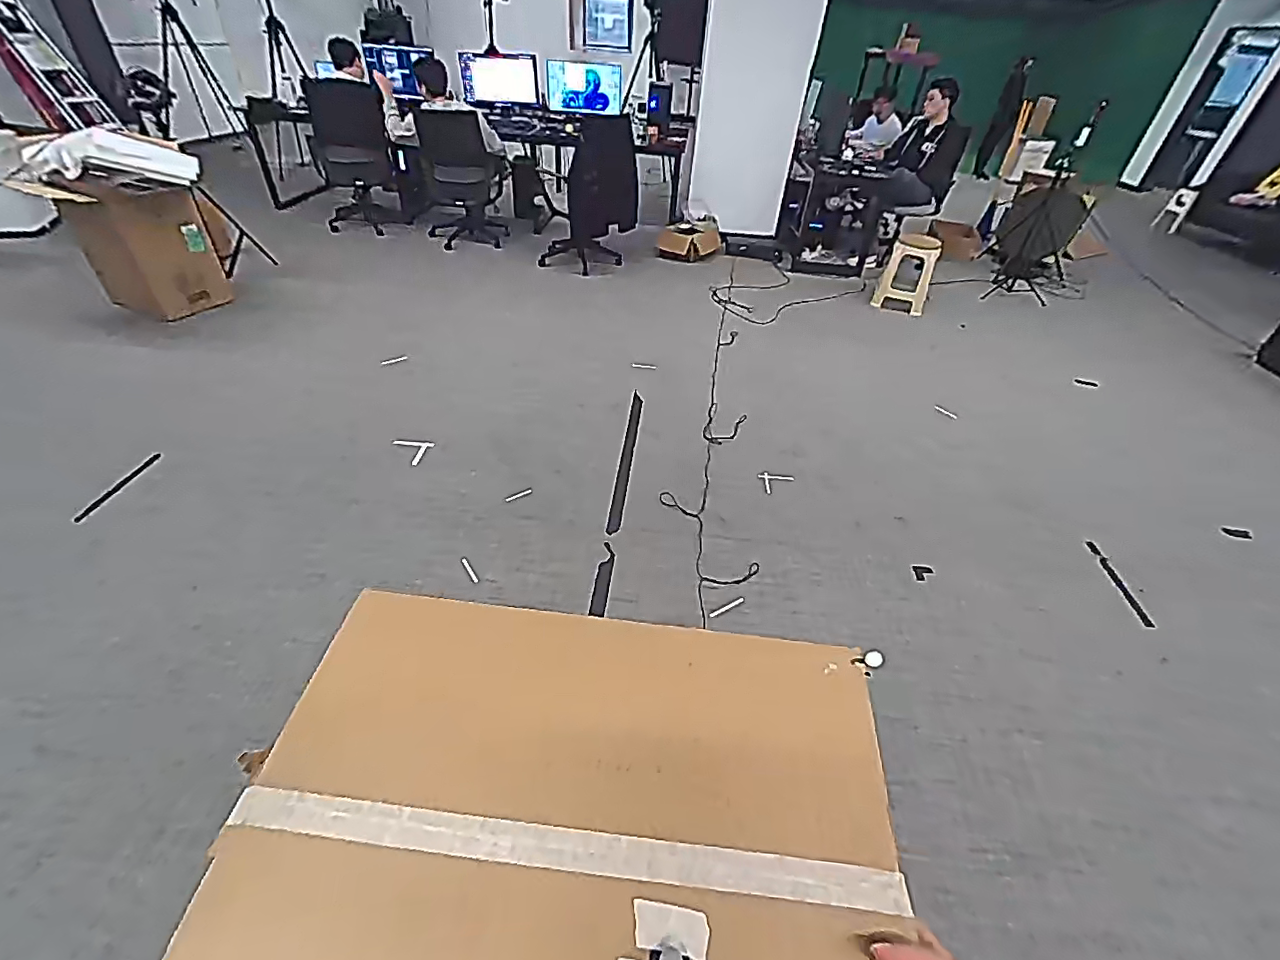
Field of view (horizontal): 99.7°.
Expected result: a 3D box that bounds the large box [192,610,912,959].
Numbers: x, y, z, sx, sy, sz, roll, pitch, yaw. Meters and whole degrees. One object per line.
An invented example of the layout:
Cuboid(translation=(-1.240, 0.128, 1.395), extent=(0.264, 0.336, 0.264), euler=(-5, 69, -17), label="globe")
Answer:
Cuboid(translation=(-0.048, 0.336, 0.439), extent=(0.408, 0.320, 0.320), euler=(6, 47, 2), label="large box")
